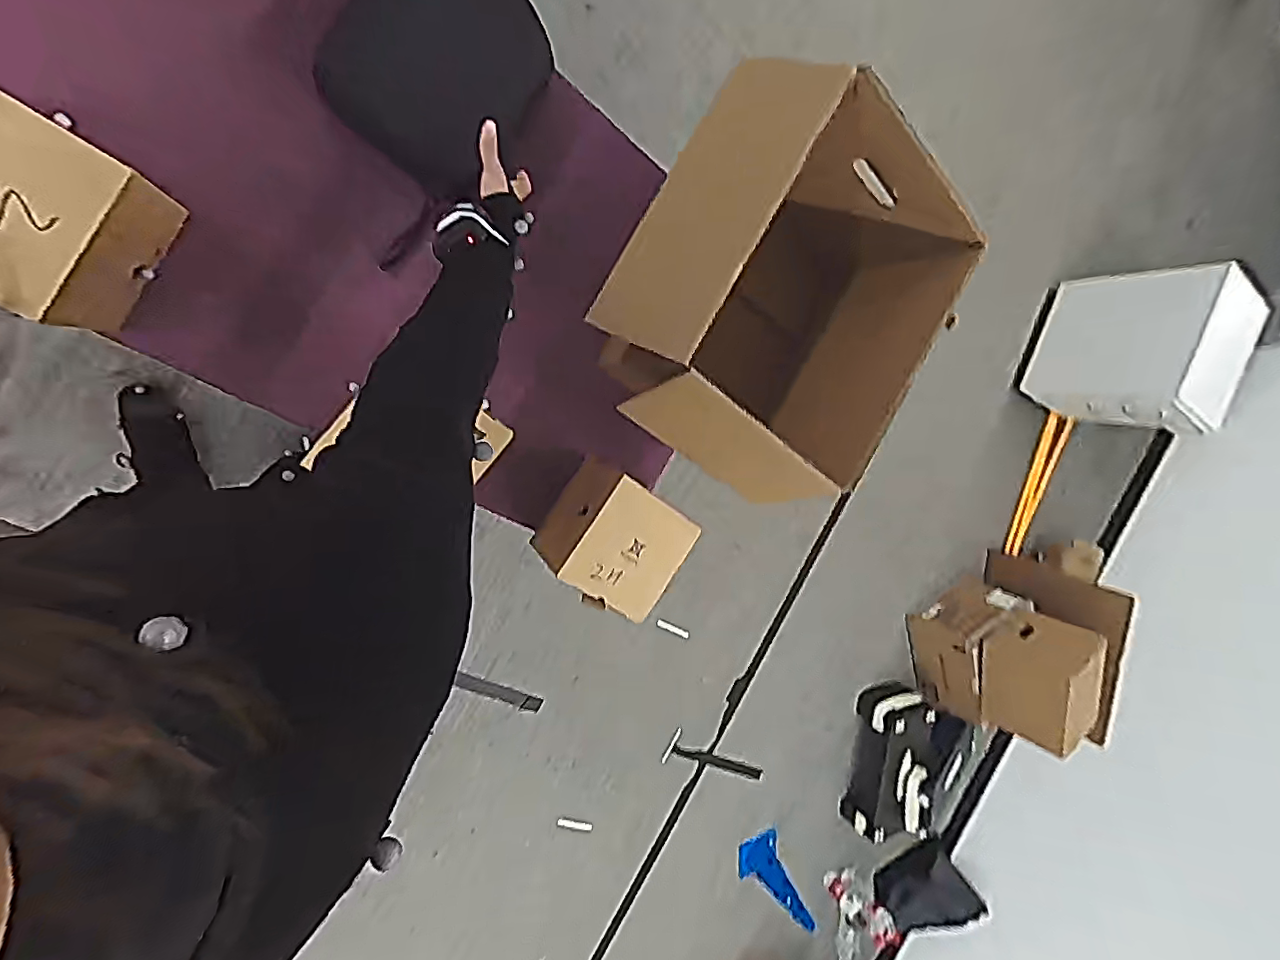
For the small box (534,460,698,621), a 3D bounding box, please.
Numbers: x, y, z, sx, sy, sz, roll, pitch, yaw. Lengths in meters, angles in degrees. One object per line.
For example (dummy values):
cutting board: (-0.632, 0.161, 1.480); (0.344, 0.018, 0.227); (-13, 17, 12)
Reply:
small box: (-0.047, 0.087, 0.864); (0.168, 0.176, 0.179); (37, 85, -26)
